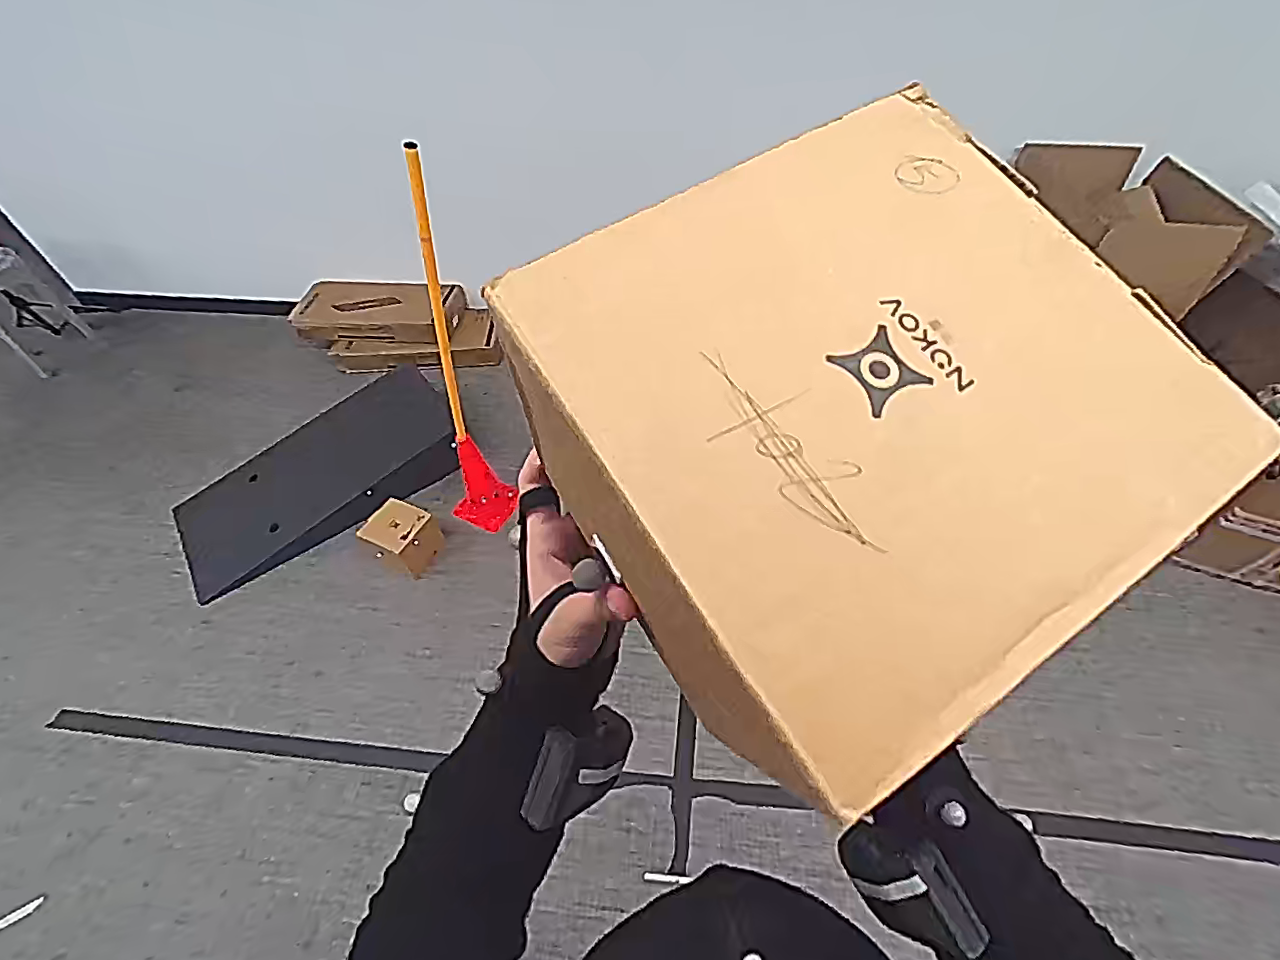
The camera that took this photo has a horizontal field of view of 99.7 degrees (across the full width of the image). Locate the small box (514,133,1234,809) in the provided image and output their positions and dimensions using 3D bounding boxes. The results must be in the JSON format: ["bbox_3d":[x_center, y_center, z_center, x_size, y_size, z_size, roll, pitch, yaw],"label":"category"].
[{"bbox_3d":[0.068,0.000,0.245,0.179,0.176,0.168,-31,75,-12],"label":"small box"}]
